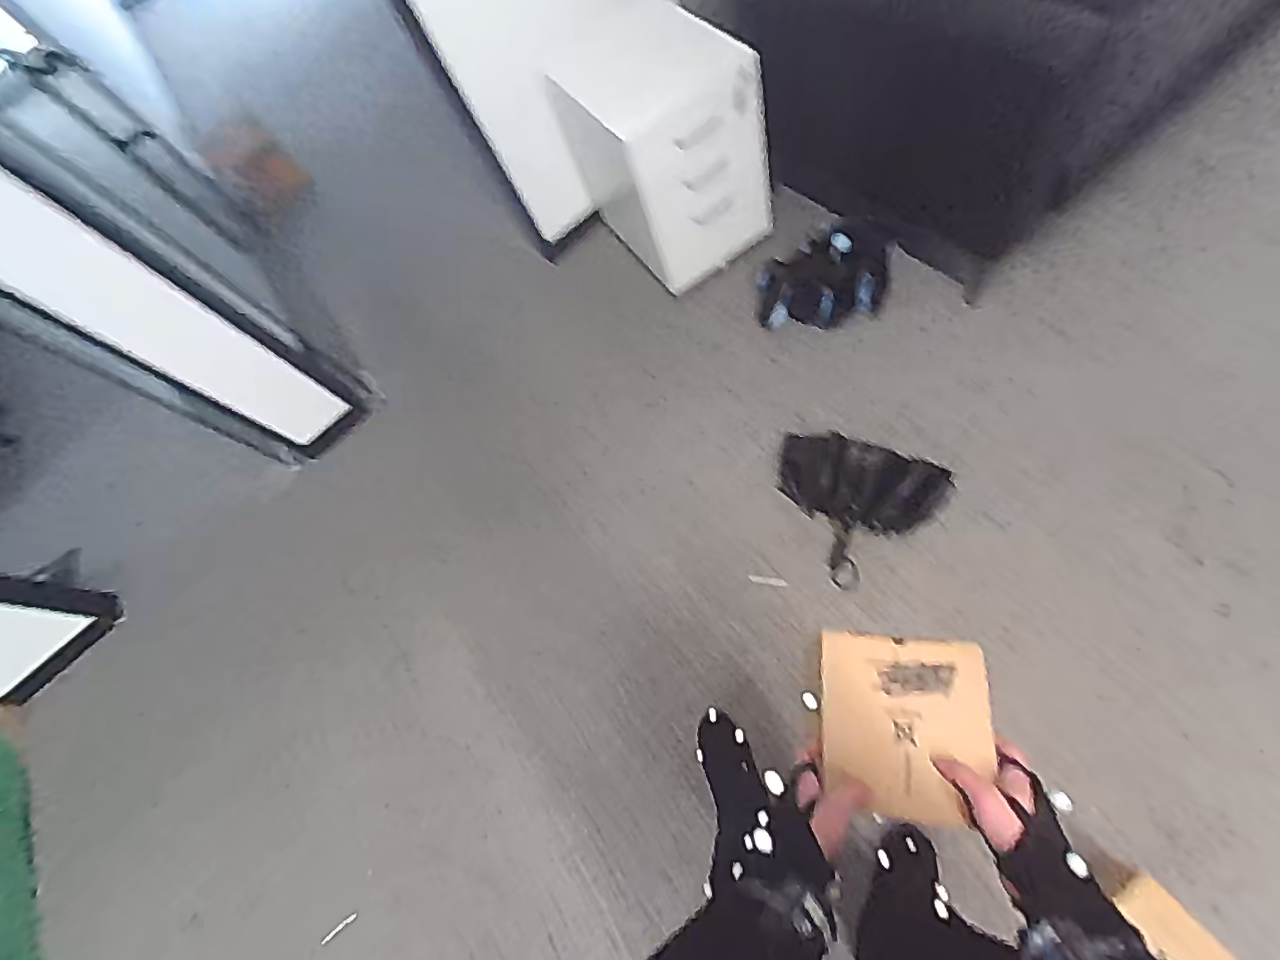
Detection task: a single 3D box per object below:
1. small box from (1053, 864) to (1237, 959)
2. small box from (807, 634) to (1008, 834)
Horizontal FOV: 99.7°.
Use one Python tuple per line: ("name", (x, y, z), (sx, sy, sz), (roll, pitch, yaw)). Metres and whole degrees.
("small box", (0.850, 0.799, 0.917), (0.179, 0.176, 0.168), (-40, 61, -4))
("small box", (0.290, 0.286, 0.630), (0.168, 0.176, 0.179), (0, 66, 11))
